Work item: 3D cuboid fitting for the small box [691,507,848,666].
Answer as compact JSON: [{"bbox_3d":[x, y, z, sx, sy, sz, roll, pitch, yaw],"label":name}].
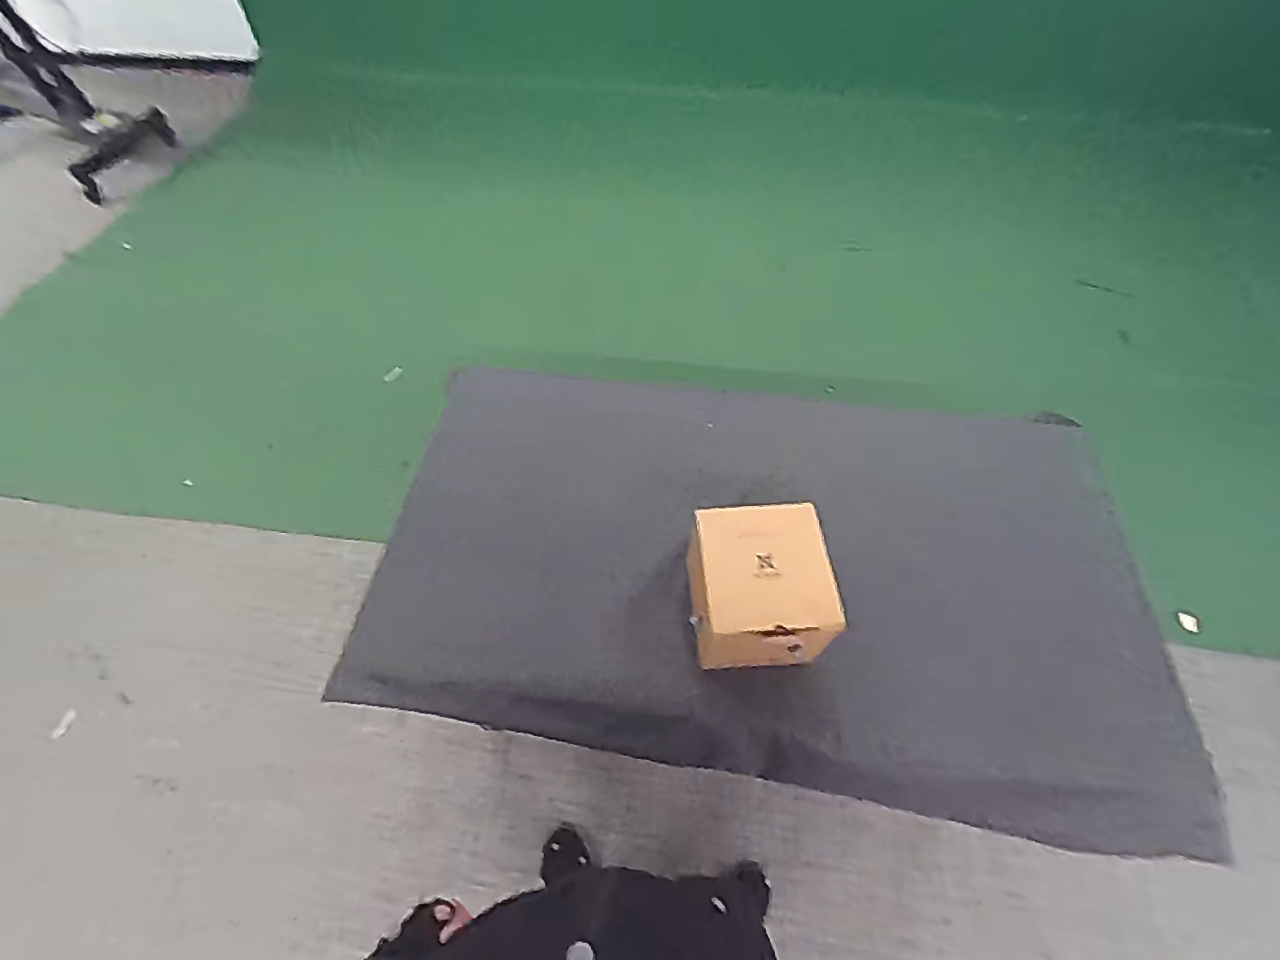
[{"bbox_3d":[0.169,0.158,0.770,0.168,0.176,0.179,-3,57,-3],"label":"small box"}]
